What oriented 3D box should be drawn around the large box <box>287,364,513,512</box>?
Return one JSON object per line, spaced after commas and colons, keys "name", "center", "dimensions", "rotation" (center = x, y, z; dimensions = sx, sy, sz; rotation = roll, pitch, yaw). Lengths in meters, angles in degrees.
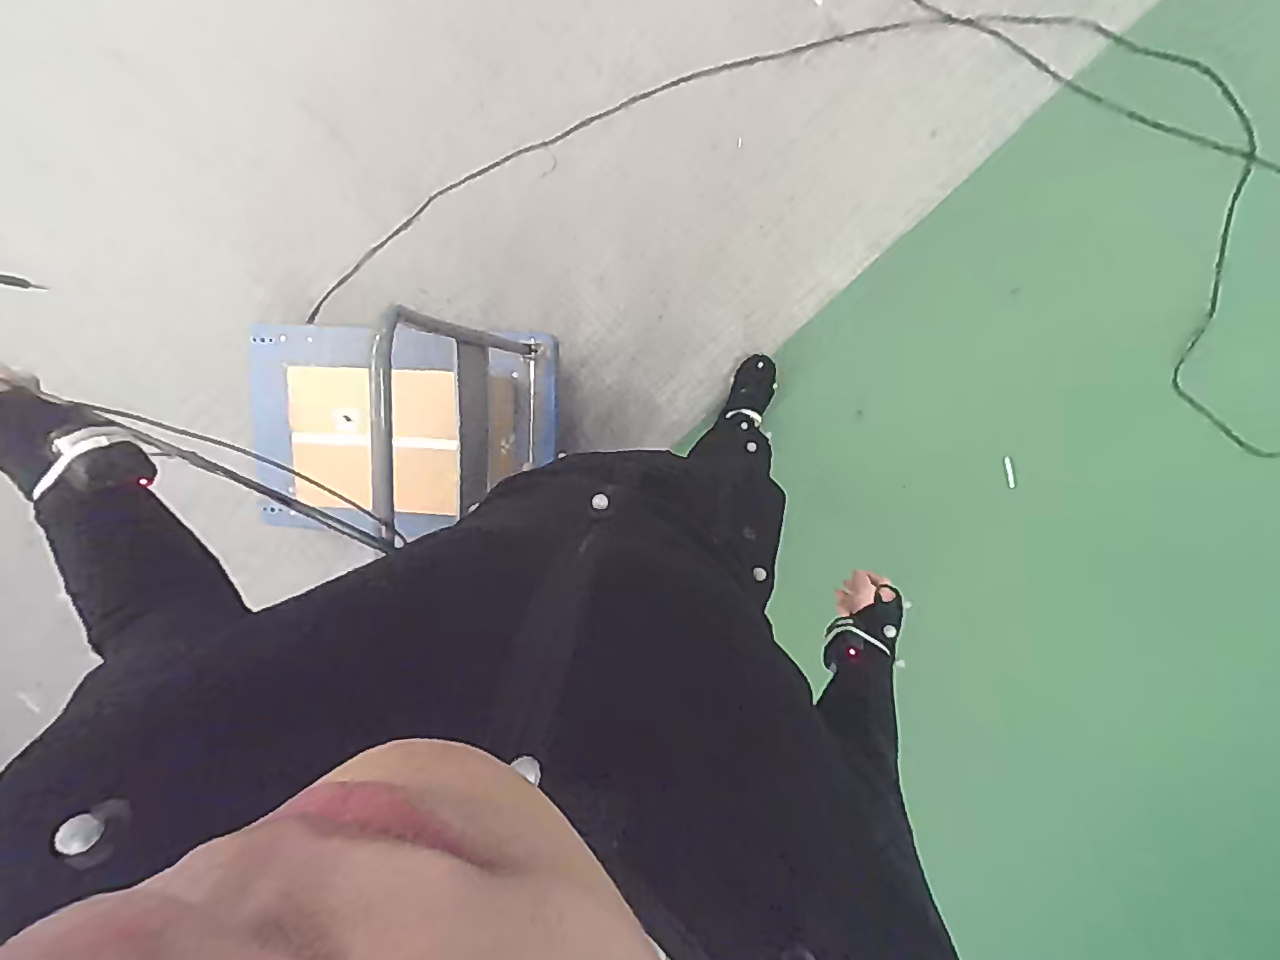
{"name": "large box", "center": [-0.554, -0.116, 1.316], "dimensions": [0.408, 0.320, 0.320], "rotation": [4, 99, 7]}
